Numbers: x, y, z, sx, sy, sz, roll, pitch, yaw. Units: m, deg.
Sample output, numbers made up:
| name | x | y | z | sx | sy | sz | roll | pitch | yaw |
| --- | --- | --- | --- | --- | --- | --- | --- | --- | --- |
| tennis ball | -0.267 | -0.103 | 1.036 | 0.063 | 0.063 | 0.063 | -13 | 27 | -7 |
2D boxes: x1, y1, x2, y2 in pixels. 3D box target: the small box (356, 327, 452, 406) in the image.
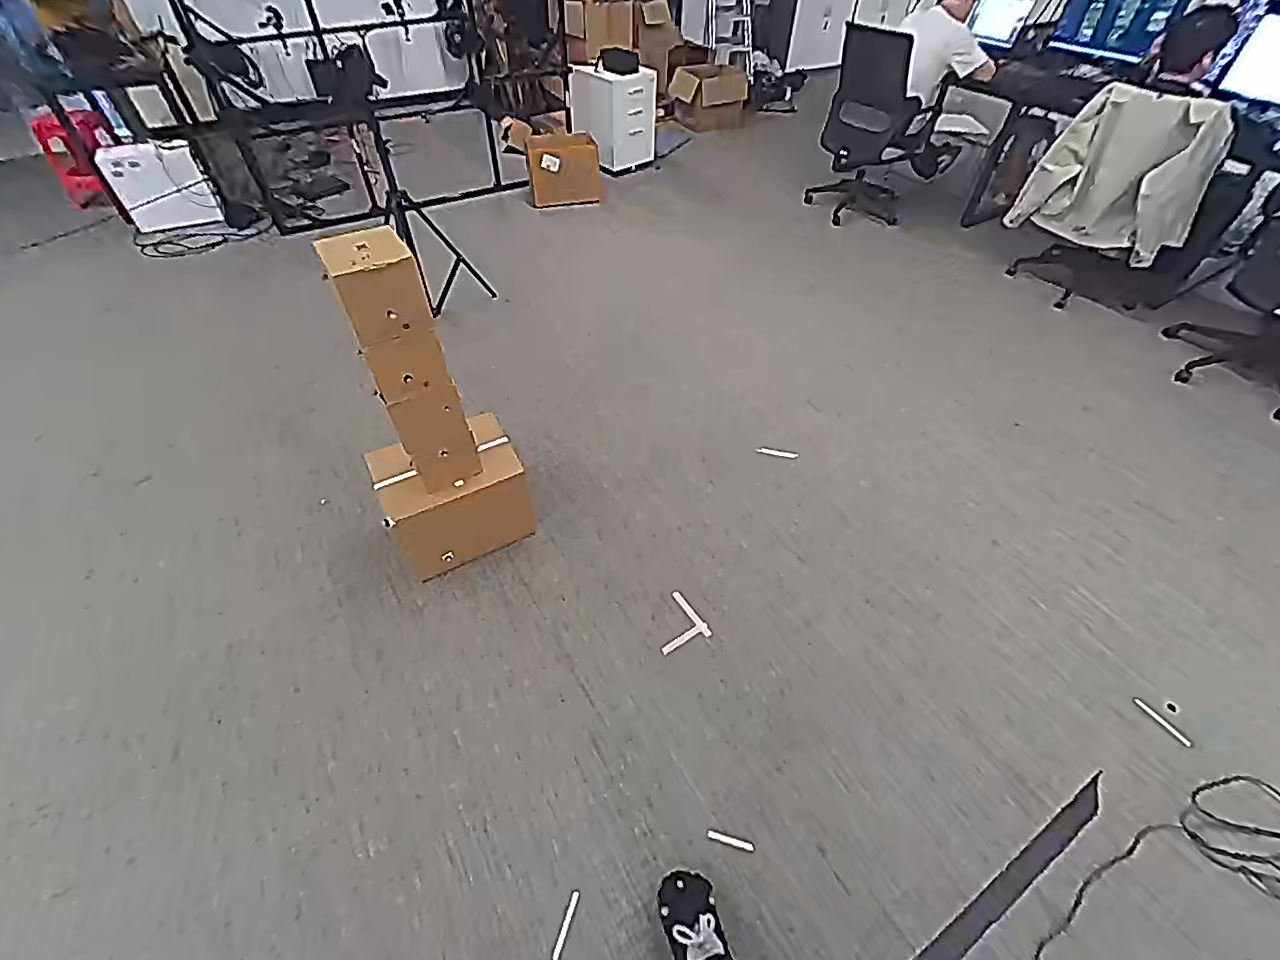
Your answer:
| name | x | y | z | sx | sy | sz | roll | pitch | yaw |
| --- | --- | --- | --- | --- | --- | --- | --- | --- | --- |
| small box | -0.583 | -0.312 | 1.323 | 0.168 | 0.176 | 0.179 | -25 | 54 | -22 |

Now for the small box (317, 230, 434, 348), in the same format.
| name | x | y | z | sx | sy | sz | roll | pitch | yaw |
| --- | --- | --- | --- | --- | --- | --- | --- | --- | --- |
| small box | -0.582 | -0.423 | 1.201 | 0.168 | 0.176 | 0.179 | -26 | 55 | -22 |

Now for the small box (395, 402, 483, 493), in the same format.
| name | x | y | z | sx | sy | sz | roll | pitch | yaw |
| --- | --- | --- | --- | --- | --- | --- | --- | --- | --- |
| small box | -0.575 | -0.091 | 1.563 | 0.179 | 0.176 | 0.168 | -25 | 54 | -23 |
